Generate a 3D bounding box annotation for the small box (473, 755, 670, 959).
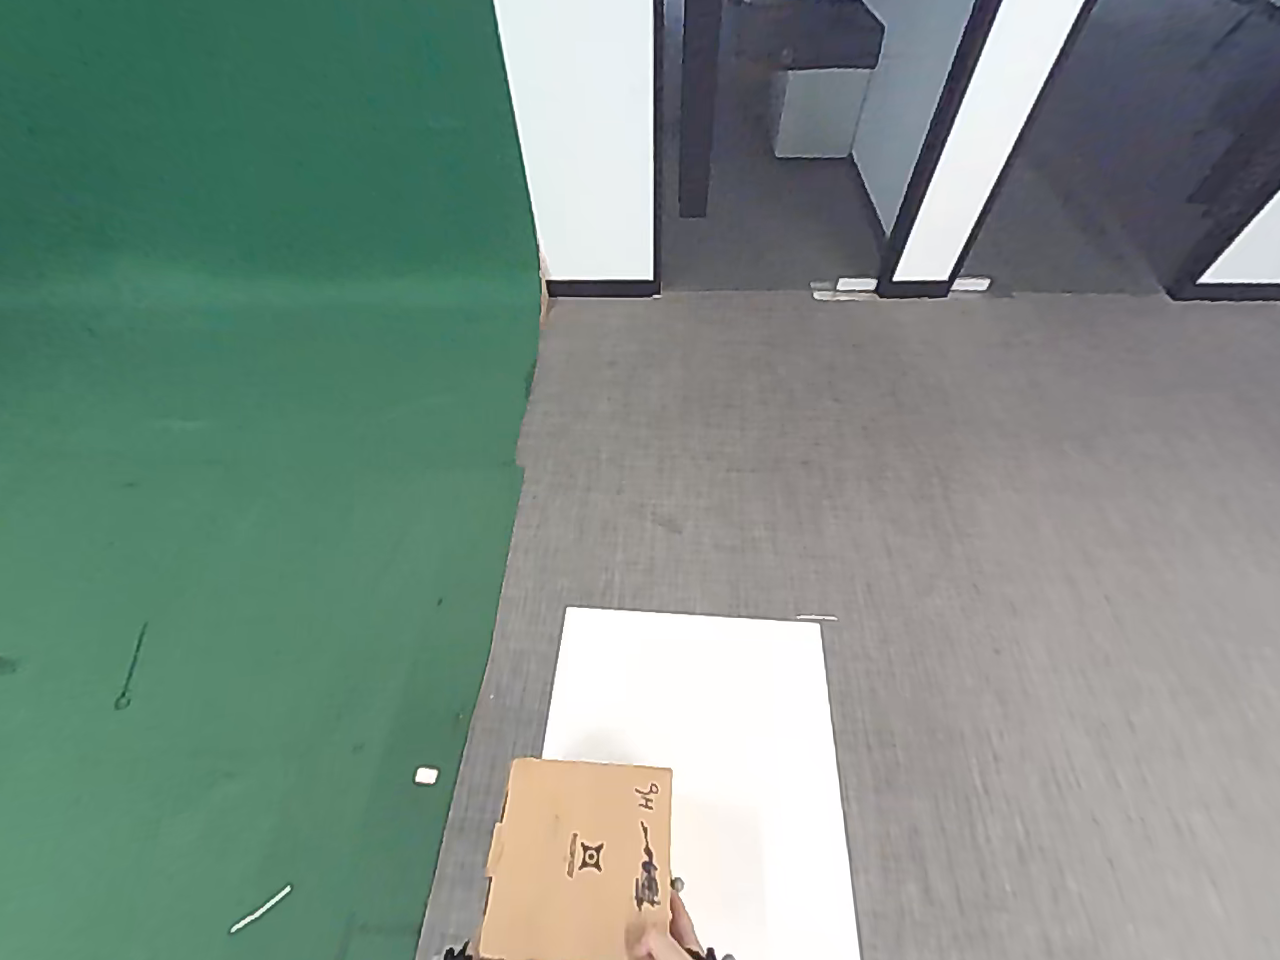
[{"bbox_3d":[-0.059,0.416,0.595,0.179,0.176,0.168,3,53,2],"label":"small box"}]
